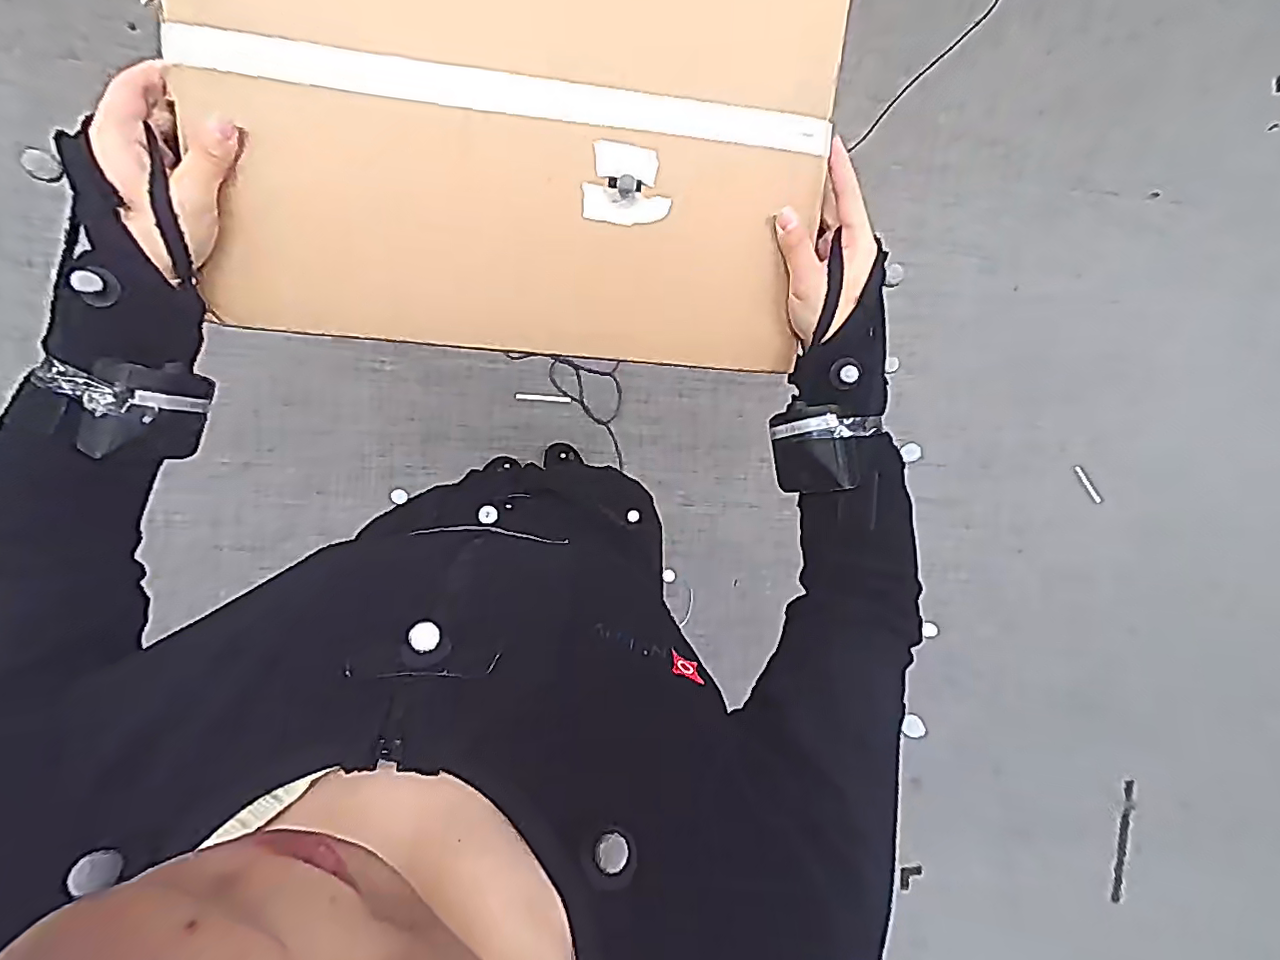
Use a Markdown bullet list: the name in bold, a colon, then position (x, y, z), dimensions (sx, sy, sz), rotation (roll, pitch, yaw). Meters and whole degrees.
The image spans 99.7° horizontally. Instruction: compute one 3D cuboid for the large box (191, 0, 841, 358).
- **large box**: position (-0.090, -0.286, 0.491), dimensions (0.408, 0.320, 0.320), rotation (3, 105, -9)
